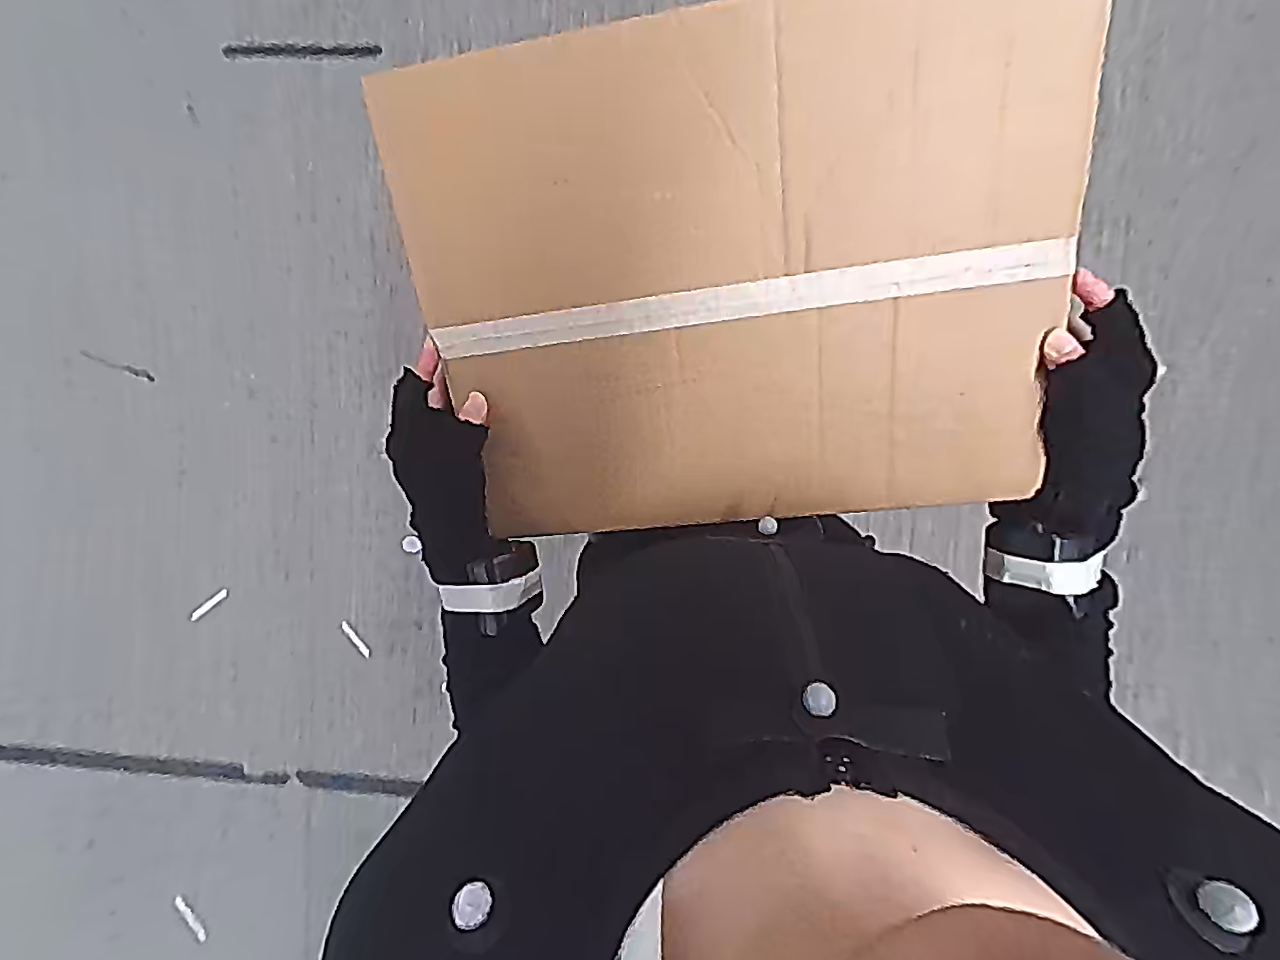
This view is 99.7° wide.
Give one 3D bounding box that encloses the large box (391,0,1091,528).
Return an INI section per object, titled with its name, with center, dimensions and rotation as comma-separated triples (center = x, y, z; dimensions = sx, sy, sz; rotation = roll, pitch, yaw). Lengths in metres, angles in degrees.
[large box]
center = 0.073, -0.174, 0.494
dimensions = 0.408, 0.320, 0.320
rotation = -5, 113, 8
